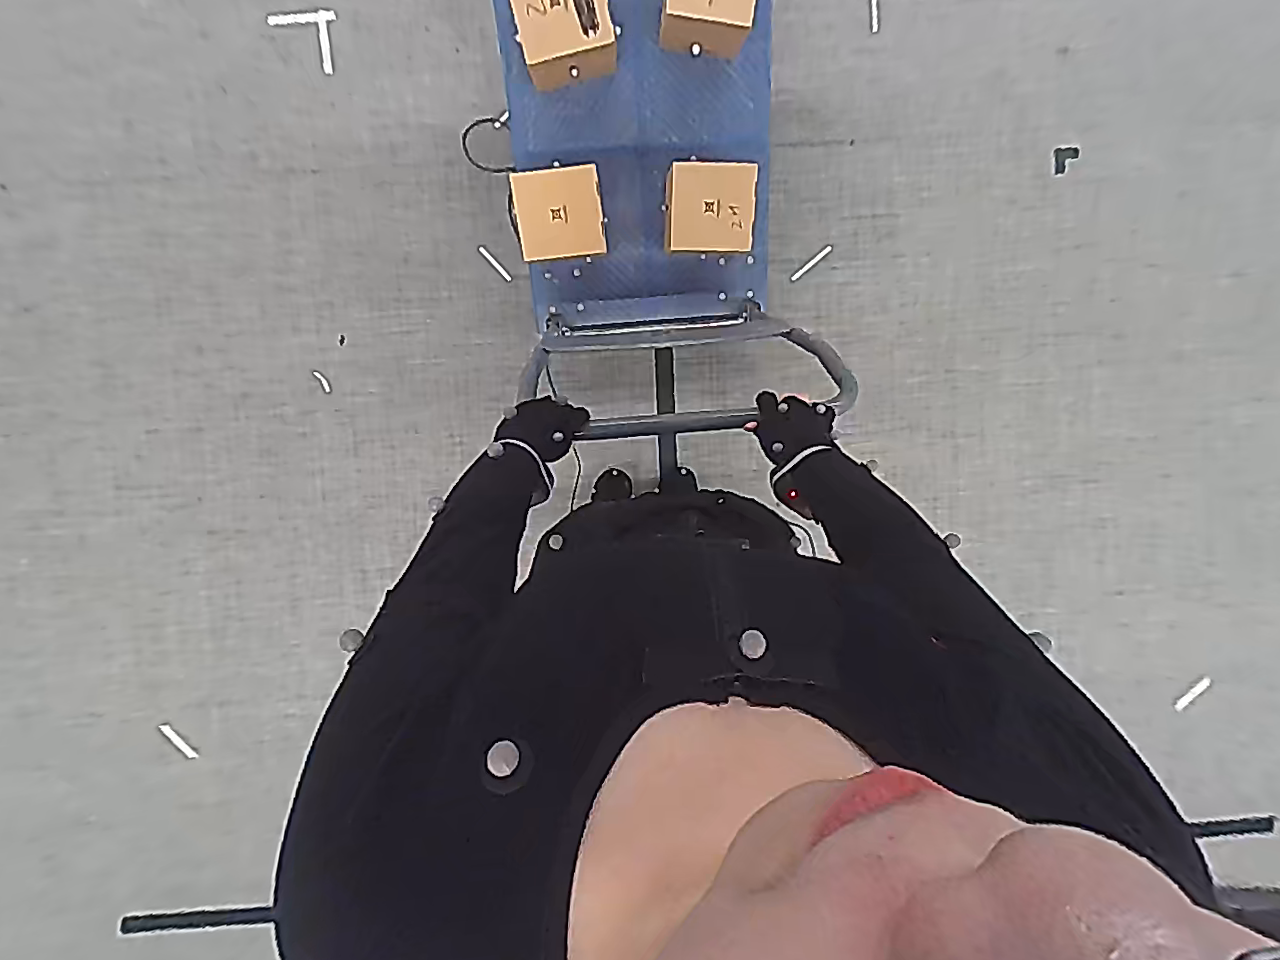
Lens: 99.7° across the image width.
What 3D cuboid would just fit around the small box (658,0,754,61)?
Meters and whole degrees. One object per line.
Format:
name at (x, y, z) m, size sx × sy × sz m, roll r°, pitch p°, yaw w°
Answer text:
small box at (0.129, -0.955, 1.045) m, size 0.168 × 0.176 × 0.179 m, roll 5°, pitch 112°, yaw -5°

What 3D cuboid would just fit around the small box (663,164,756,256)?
small box at (0.144, -0.584, 1.187) m, size 0.179 × 0.176 × 0.168 m, roll 0°, pitch 111°, yaw -3°

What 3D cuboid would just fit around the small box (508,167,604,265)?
small box at (-0.173, -0.566, 1.177) m, size 0.179 × 0.176 × 0.168 m, roll -8°, pitch 111°, yaw -2°
